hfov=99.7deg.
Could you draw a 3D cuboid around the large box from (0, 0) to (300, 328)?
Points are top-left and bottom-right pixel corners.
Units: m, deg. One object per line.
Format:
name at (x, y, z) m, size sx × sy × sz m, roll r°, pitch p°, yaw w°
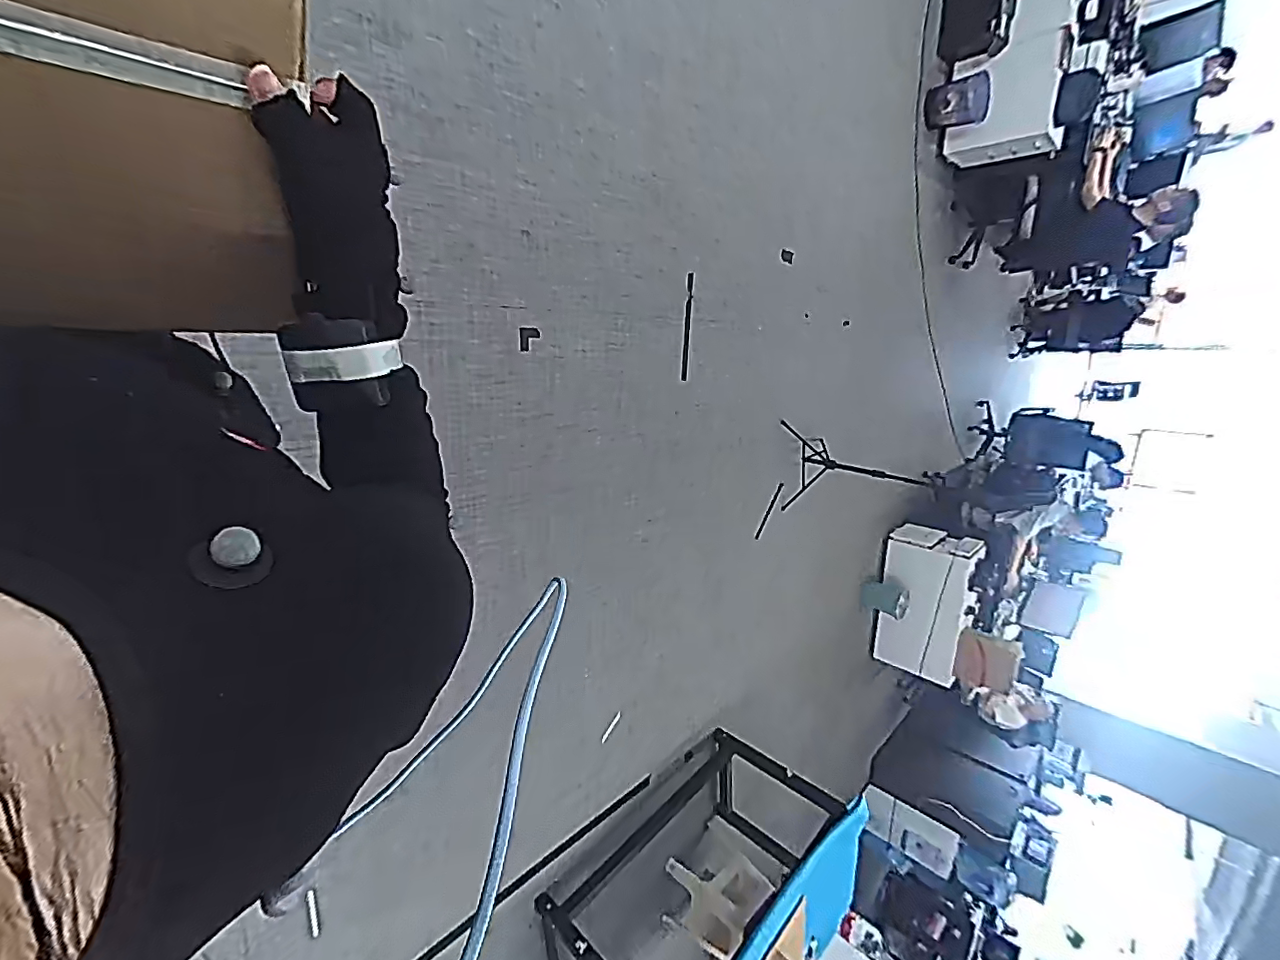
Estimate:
large box at (-0.442, -0.295, 0.274) m, size 0.408 × 0.320 × 0.320 m, roll -13°, pitch 141°, yaw -42°
